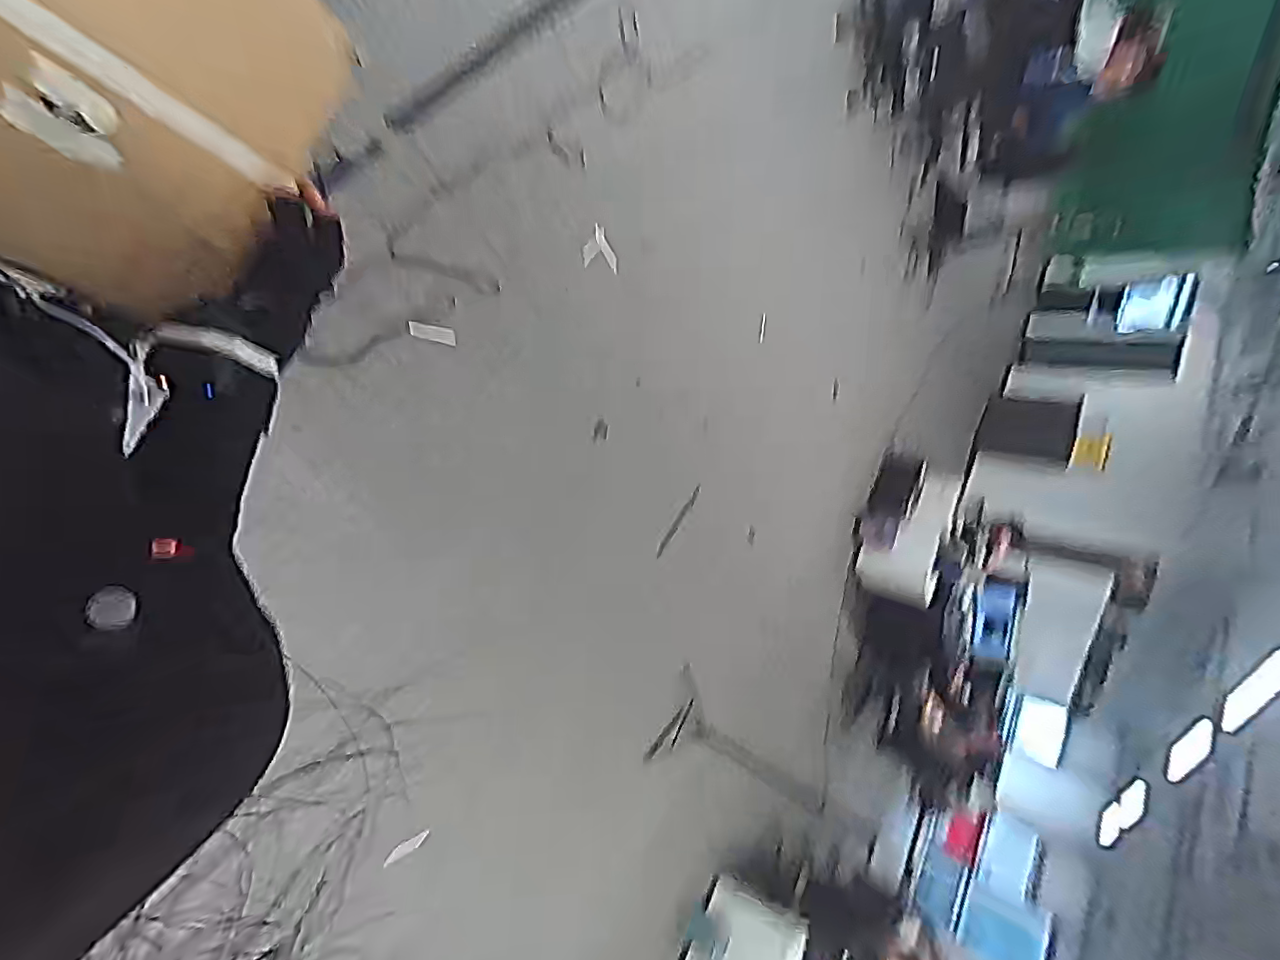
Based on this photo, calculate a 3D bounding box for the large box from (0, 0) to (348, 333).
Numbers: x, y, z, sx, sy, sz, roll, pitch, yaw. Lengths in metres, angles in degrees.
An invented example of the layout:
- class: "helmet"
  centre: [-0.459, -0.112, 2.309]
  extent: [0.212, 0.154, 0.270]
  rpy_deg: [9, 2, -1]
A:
- class: "large box"
  centre: [-0.547, -0.362, 0.423]
  extent: [0.408, 0.320, 0.320]
  rpy_deg: [27, 85, -56]
